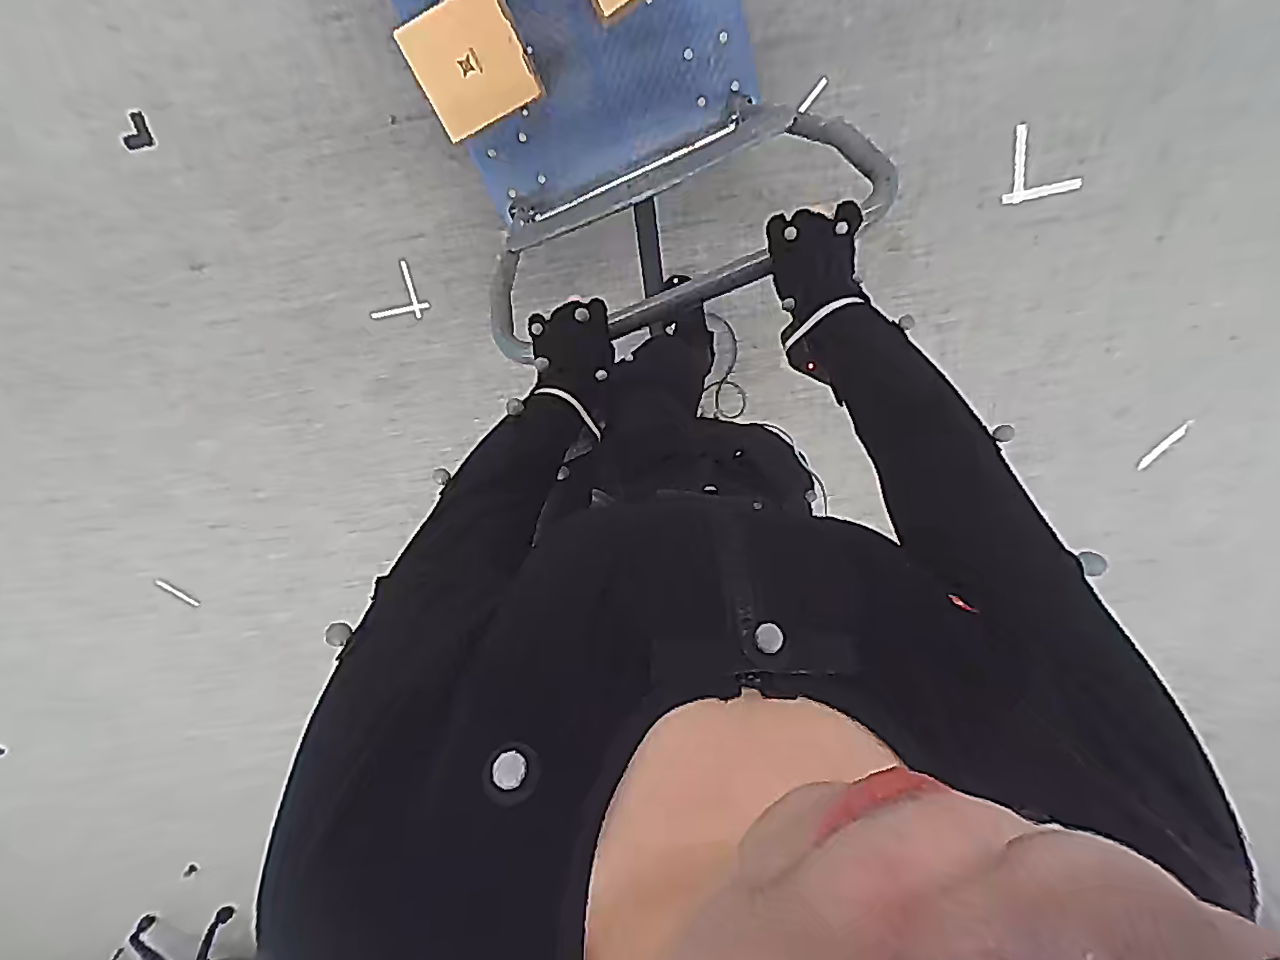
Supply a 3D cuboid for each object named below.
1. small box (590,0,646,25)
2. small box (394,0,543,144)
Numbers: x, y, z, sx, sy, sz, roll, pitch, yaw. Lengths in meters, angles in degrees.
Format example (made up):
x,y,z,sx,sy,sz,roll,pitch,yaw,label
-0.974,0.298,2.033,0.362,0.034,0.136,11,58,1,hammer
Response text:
x,y,z,sx,sy,sz,roll,pitch,yaw,label
-0.026,-0.869,0.860,0.179,0.176,0.168,-26,123,13,small box
-0.284,-0.715,0.944,0.179,0.176,0.168,-24,123,9,small box
